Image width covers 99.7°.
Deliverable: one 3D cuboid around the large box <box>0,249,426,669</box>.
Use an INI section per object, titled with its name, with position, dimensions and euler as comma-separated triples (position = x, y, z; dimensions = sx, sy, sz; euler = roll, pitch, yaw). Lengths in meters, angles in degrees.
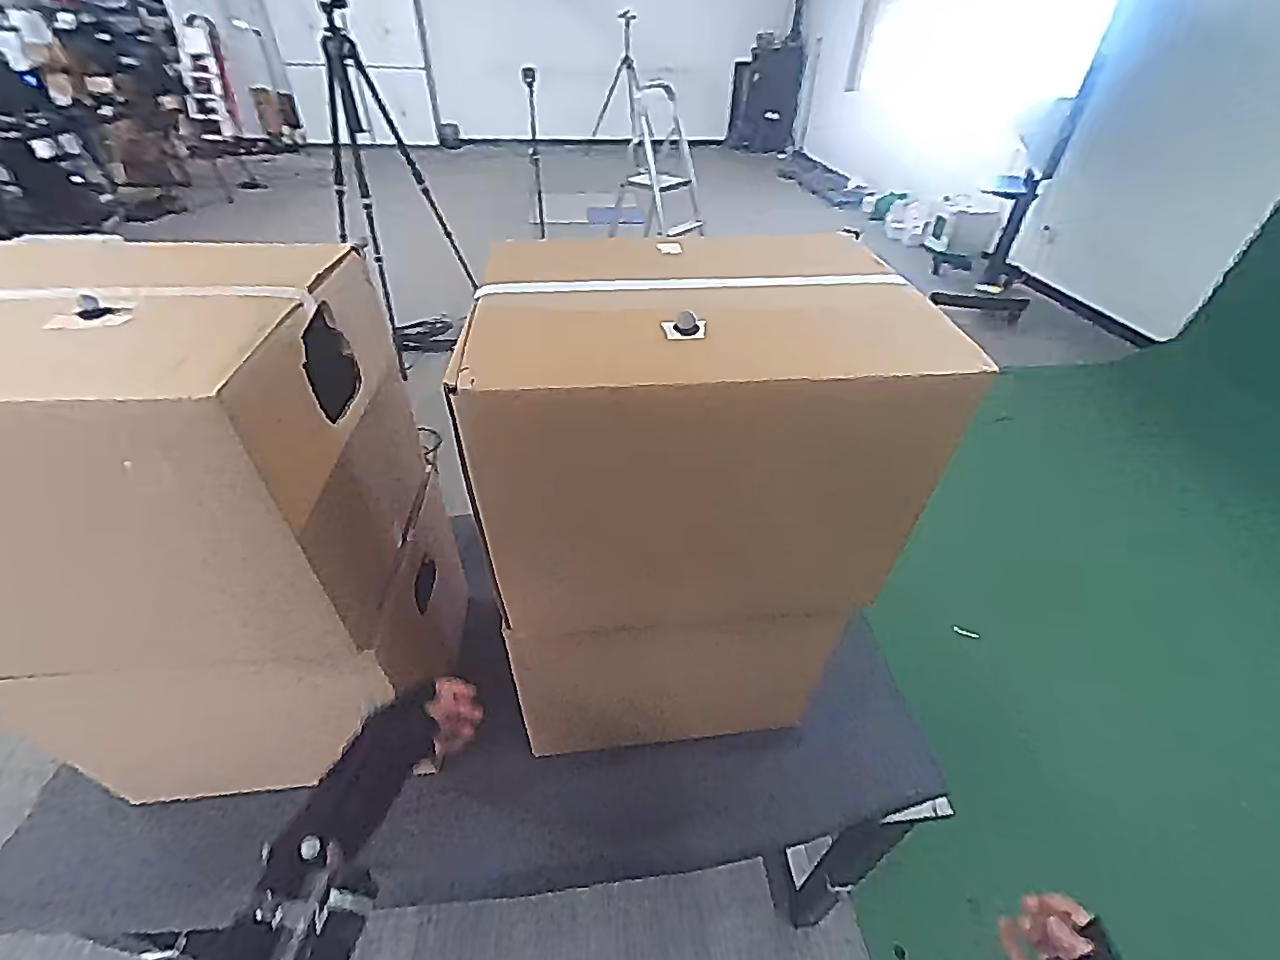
[large box]
position = -0.484, -0.030, 0.557
dimensions = 0.408, 0.320, 0.320
euler = -1, 42, -6
